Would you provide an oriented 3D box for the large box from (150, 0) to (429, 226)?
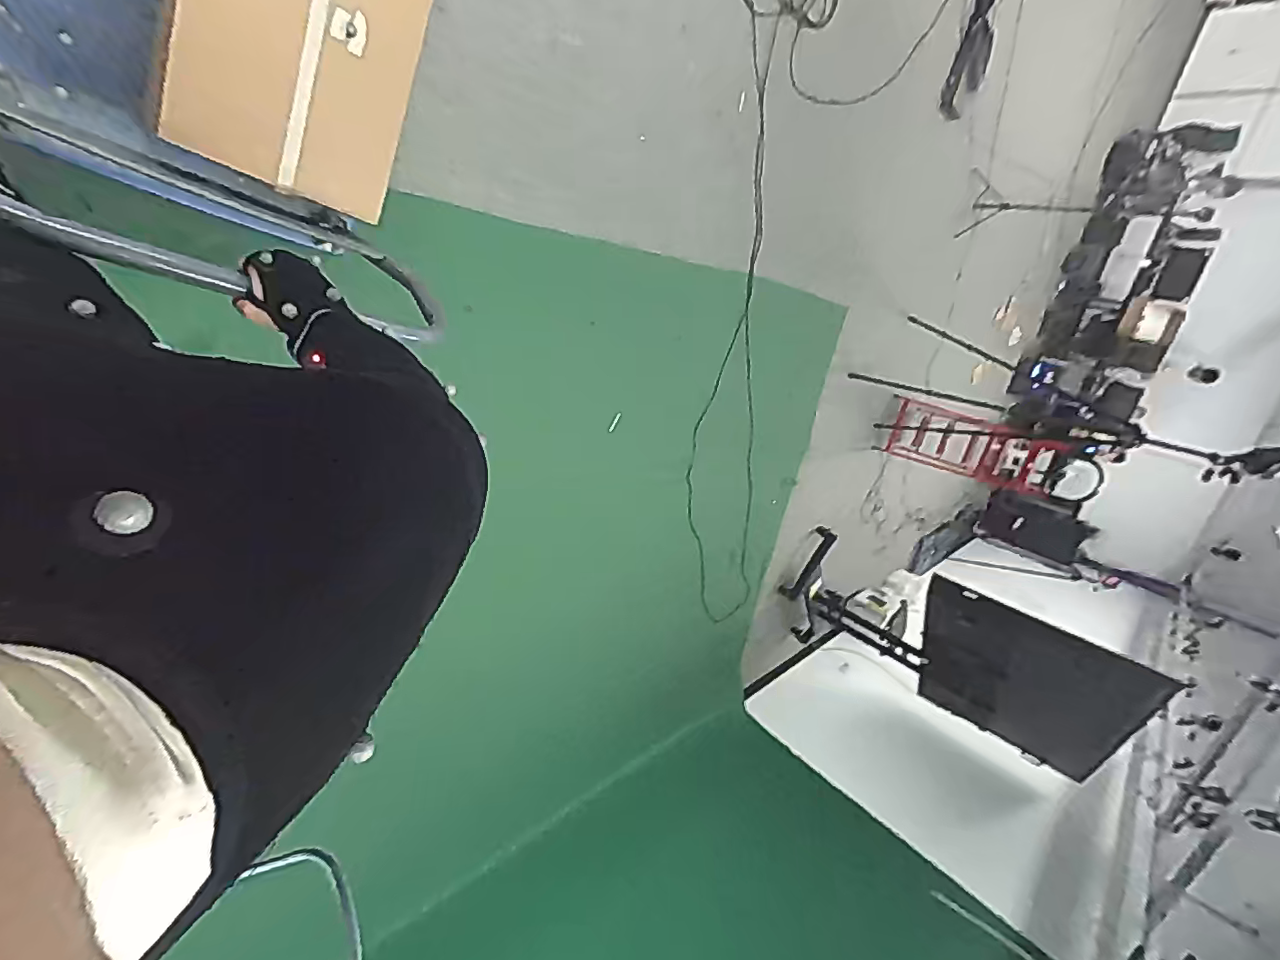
[{"bbox_3d":[-0.622,-0.721,0.945,0.320,0.320,0.408,6,110,-49],"label":"large box"}]
